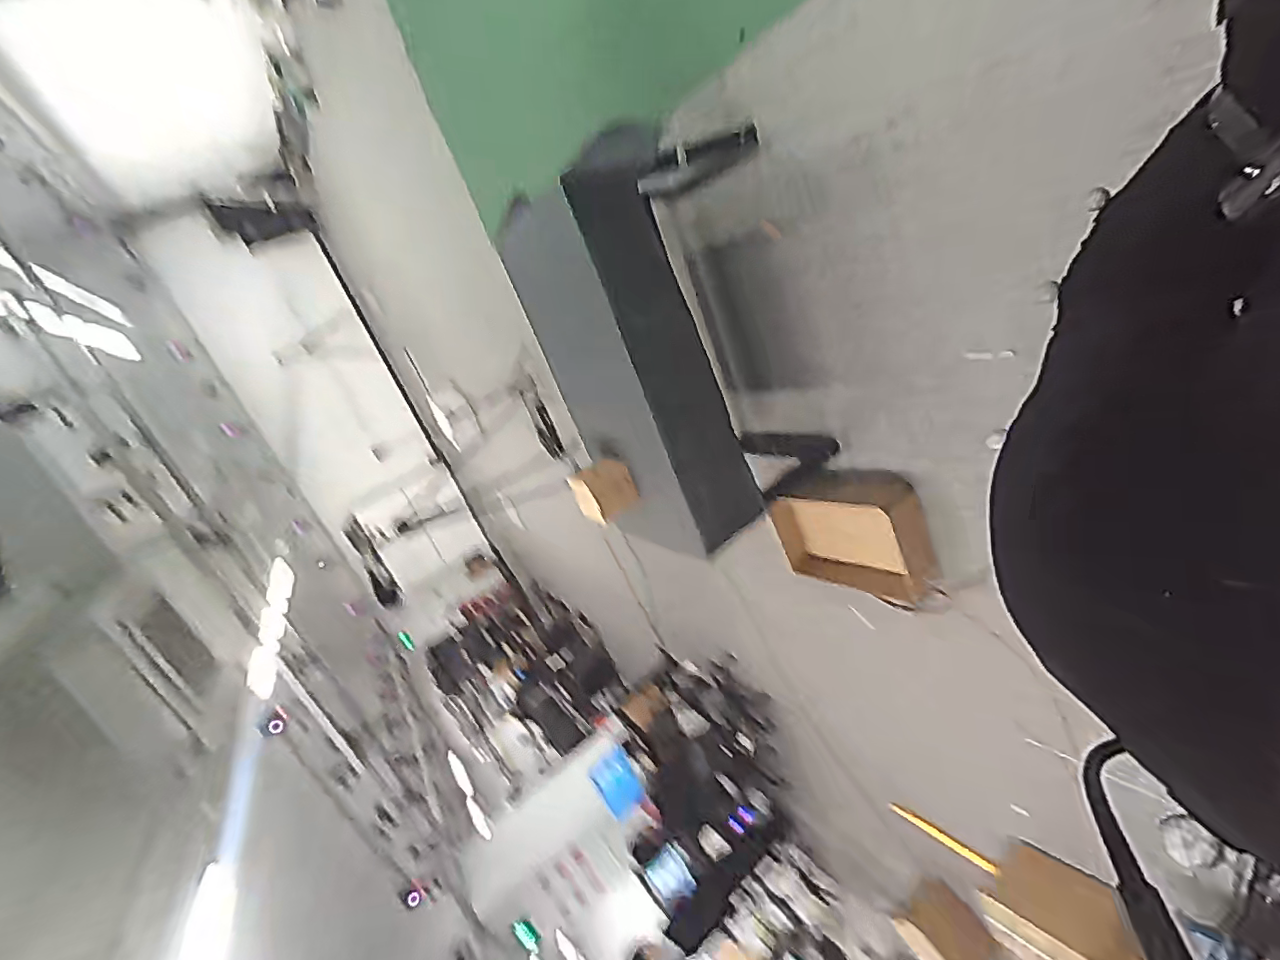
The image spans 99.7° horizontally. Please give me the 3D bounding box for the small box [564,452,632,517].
[{"bbox_3d":[-0.146,0.011,1.985,0.179,0.176,0.168,15,131,56],"label":"small box"}]
